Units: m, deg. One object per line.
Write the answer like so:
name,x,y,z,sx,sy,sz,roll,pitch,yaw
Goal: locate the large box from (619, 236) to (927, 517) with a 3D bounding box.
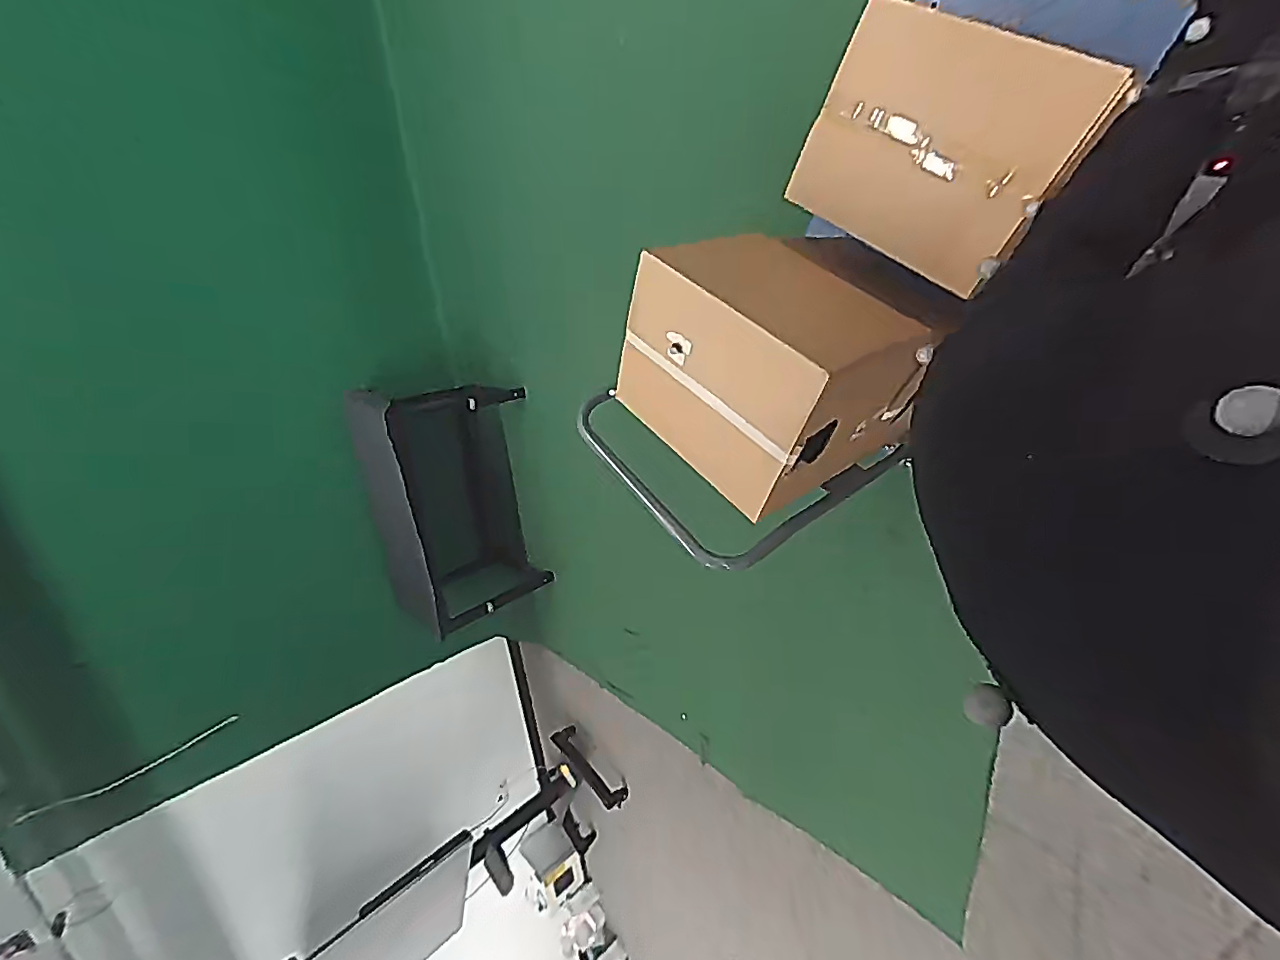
large box,0.219,-0.210,1.004,0.408,0.320,0.320,45,141,28
